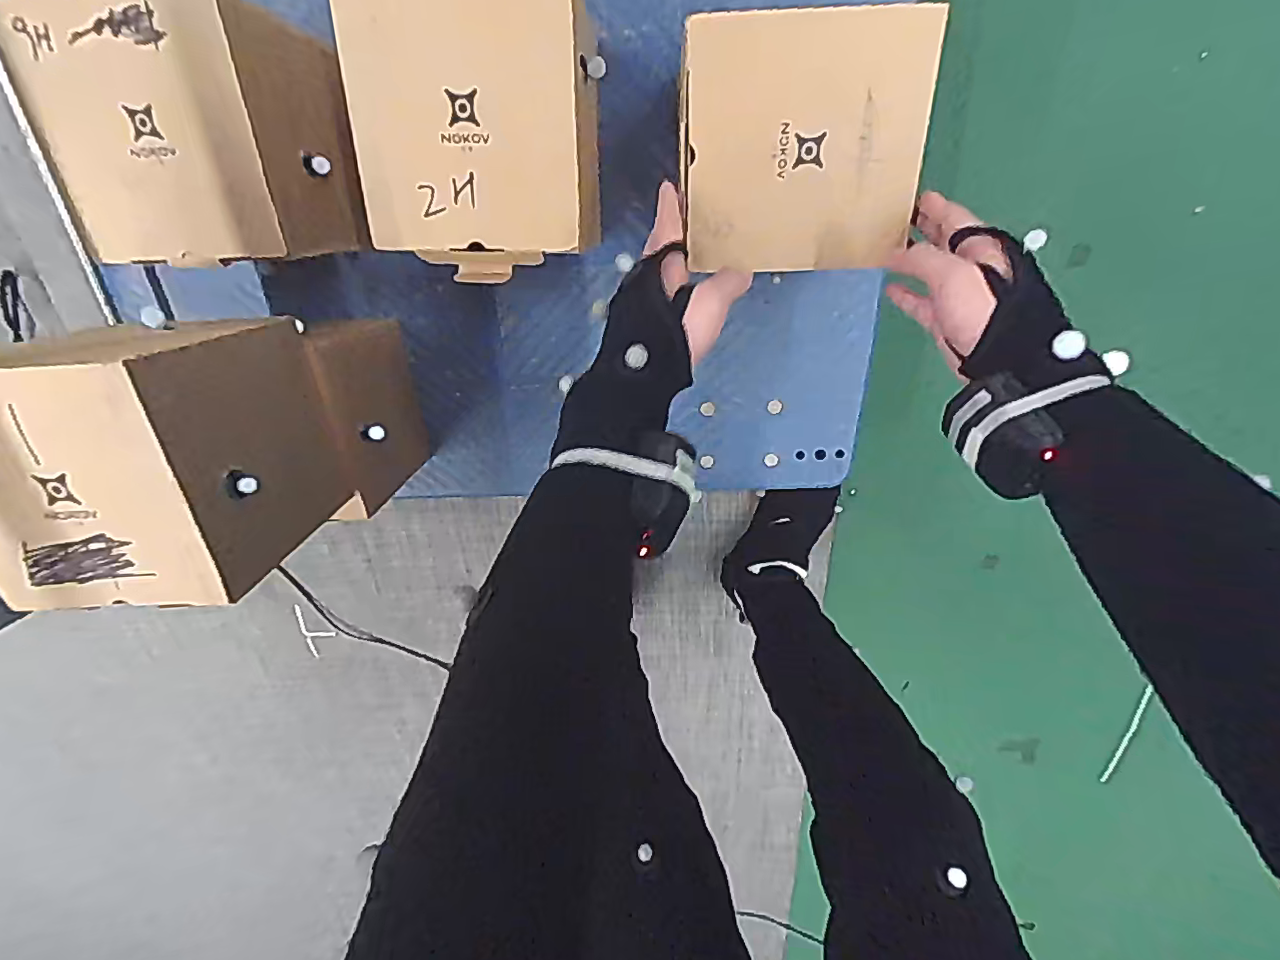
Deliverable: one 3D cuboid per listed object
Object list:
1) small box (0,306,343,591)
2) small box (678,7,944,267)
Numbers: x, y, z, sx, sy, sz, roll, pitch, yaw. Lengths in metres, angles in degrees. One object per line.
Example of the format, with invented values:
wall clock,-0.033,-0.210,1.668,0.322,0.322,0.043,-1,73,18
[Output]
small box,-0.368,-0.033,0.425,0.168,0.176,0.179,-2,115,2
small box,0.122,-0.279,0.472,0.179,0.176,0.168,0,116,2
